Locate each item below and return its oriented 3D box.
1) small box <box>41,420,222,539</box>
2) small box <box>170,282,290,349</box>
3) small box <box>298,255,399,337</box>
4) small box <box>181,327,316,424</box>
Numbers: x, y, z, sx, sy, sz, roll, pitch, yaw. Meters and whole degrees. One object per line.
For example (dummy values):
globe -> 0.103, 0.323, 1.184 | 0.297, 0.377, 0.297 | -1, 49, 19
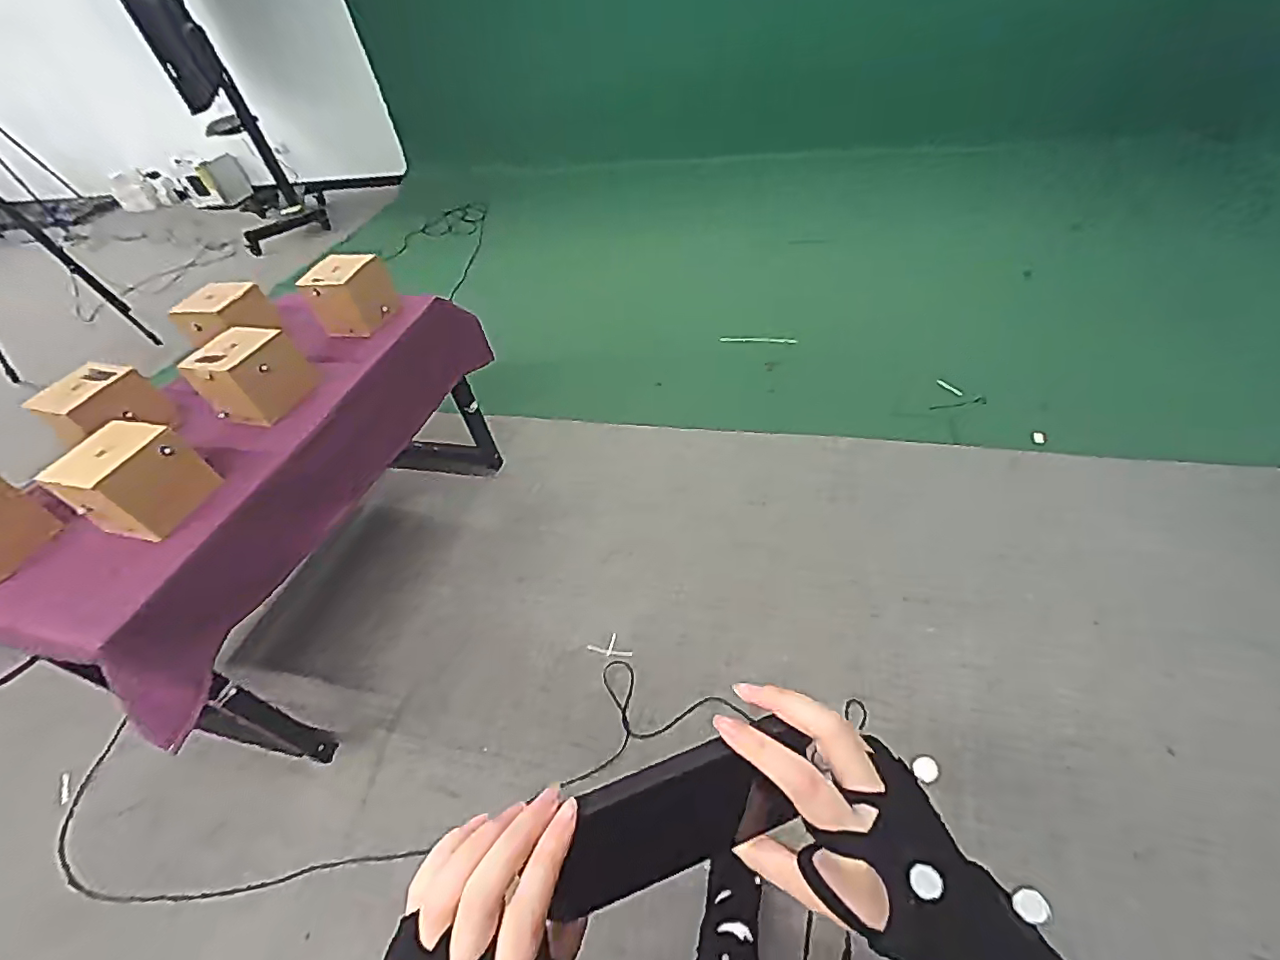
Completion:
small box -> -1.029, 0.001, 1.114 | 0.168, 0.176, 0.179 | 7, 48, 16
small box -> -1.174, -0.454, 1.562 | 0.179, 0.176, 0.168 | 4, 49, 13
small box -> -0.840, -0.541, 1.585 | 0.168, 0.176, 0.179 | 5, 48, 15
small box -> -0.957, -0.258, 1.342 | 0.168, 0.176, 0.179 | 8, 48, 17
